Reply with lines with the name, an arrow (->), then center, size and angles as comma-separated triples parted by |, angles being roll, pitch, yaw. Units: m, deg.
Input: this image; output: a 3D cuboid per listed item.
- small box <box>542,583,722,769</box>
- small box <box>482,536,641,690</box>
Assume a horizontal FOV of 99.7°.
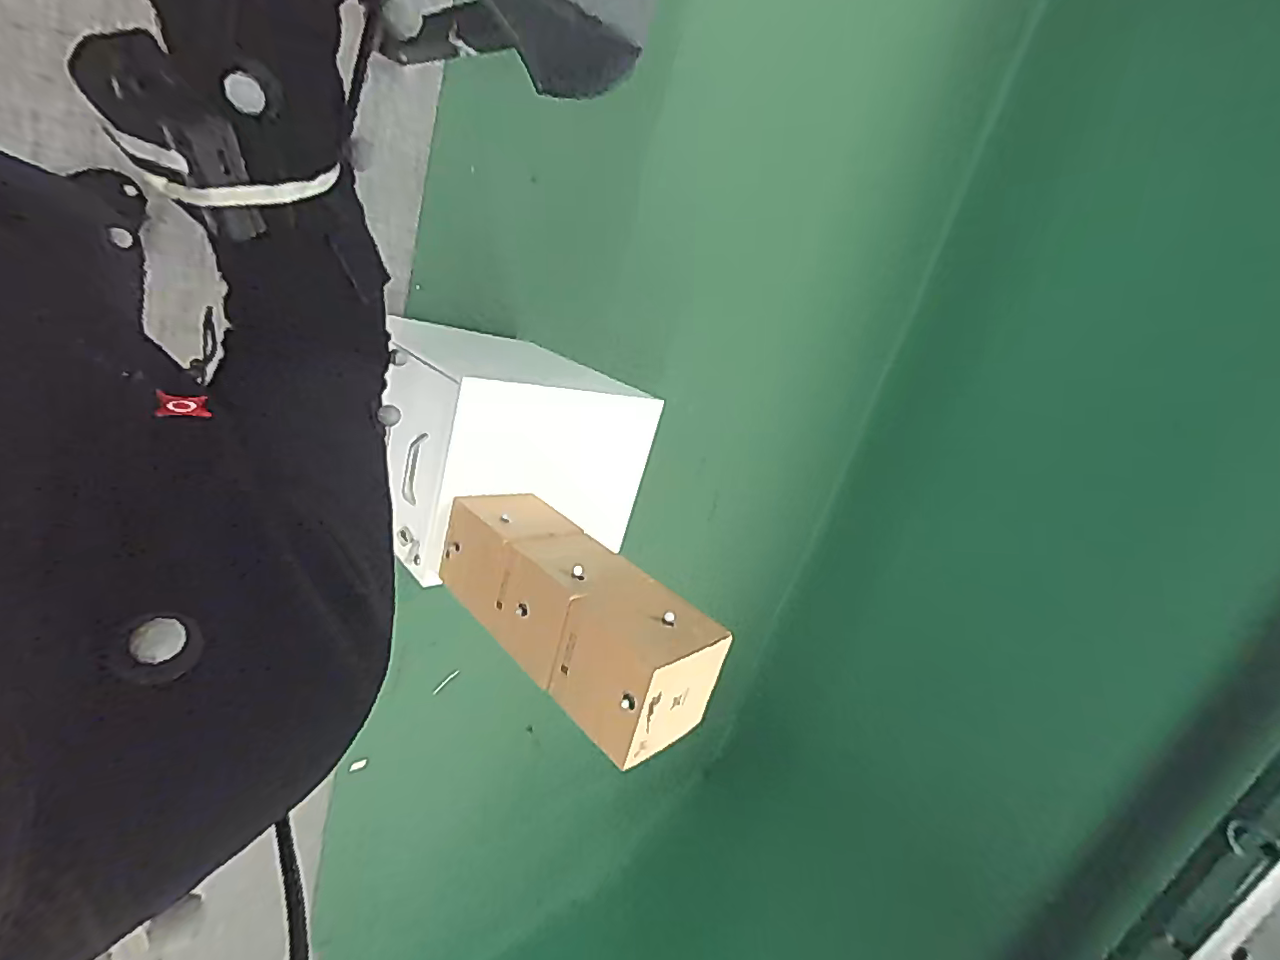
small box -> -0.014, 0.271, 0.797 | 0.179, 0.176, 0.168 | -5, 116, -49
small box -> -0.133, 0.205, 0.888 | 0.179, 0.176, 0.168 | -1, 114, -49
